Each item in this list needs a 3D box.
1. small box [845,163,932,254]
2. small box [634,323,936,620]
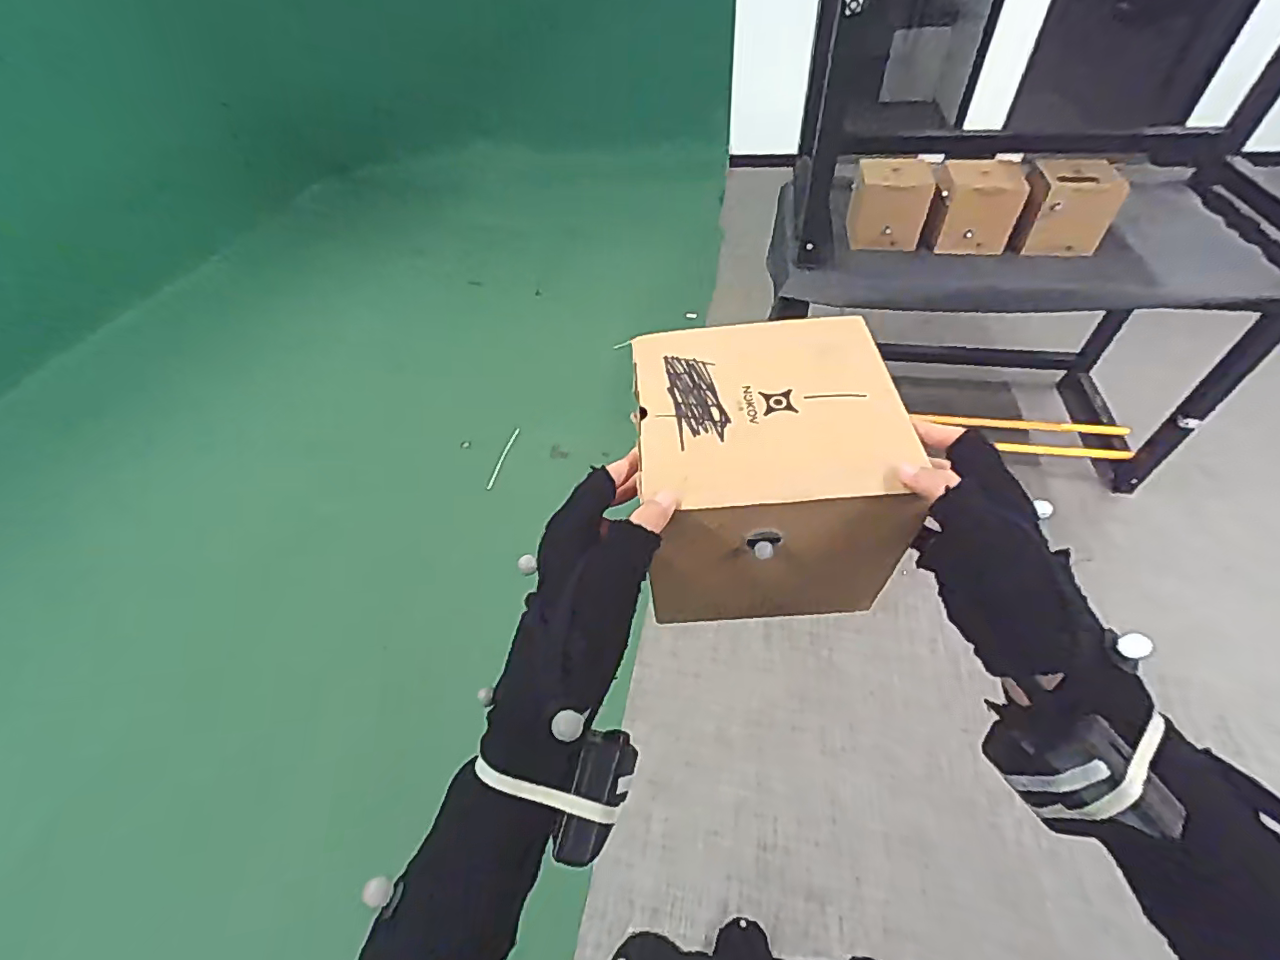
[{"bbox_3d":[0.652,-0.725,1.444,0.168,0.176,0.179,5,49,10],"label":"small box"},{"bbox_3d":[0.091,0.001,0.427,0.179,0.176,0.168,-4,52,2],"label":"small box"}]
